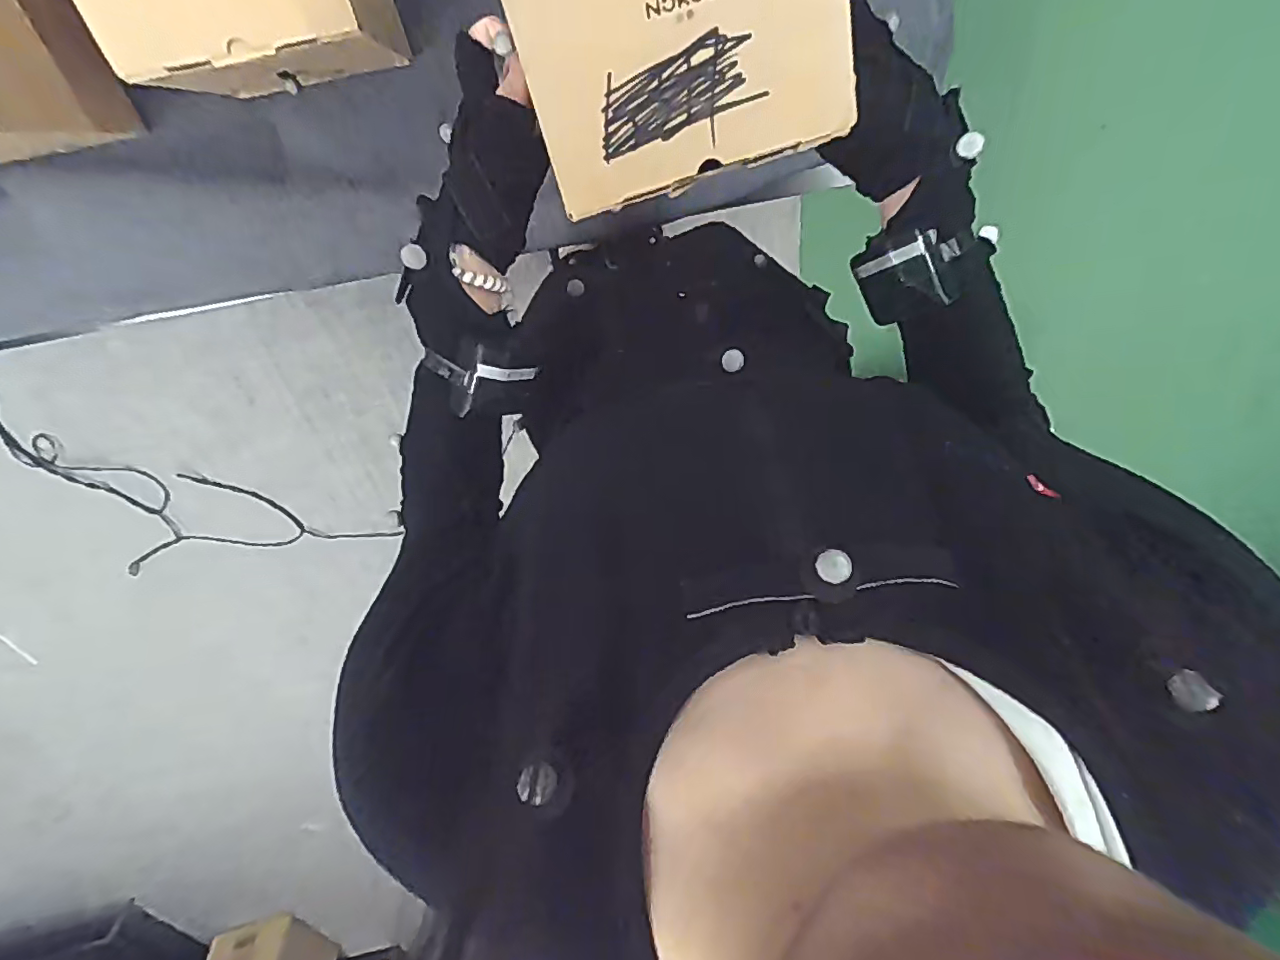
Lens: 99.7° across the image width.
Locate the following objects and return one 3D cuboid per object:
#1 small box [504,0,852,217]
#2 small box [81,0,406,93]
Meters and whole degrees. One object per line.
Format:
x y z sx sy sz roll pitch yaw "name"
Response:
0.010 -0.280 0.325 0.168 0.176 0.179 -16 120 2 "small box"
-0.291 -0.398 0.383 0.168 0.176 0.179 -14 125 -2 "small box"
